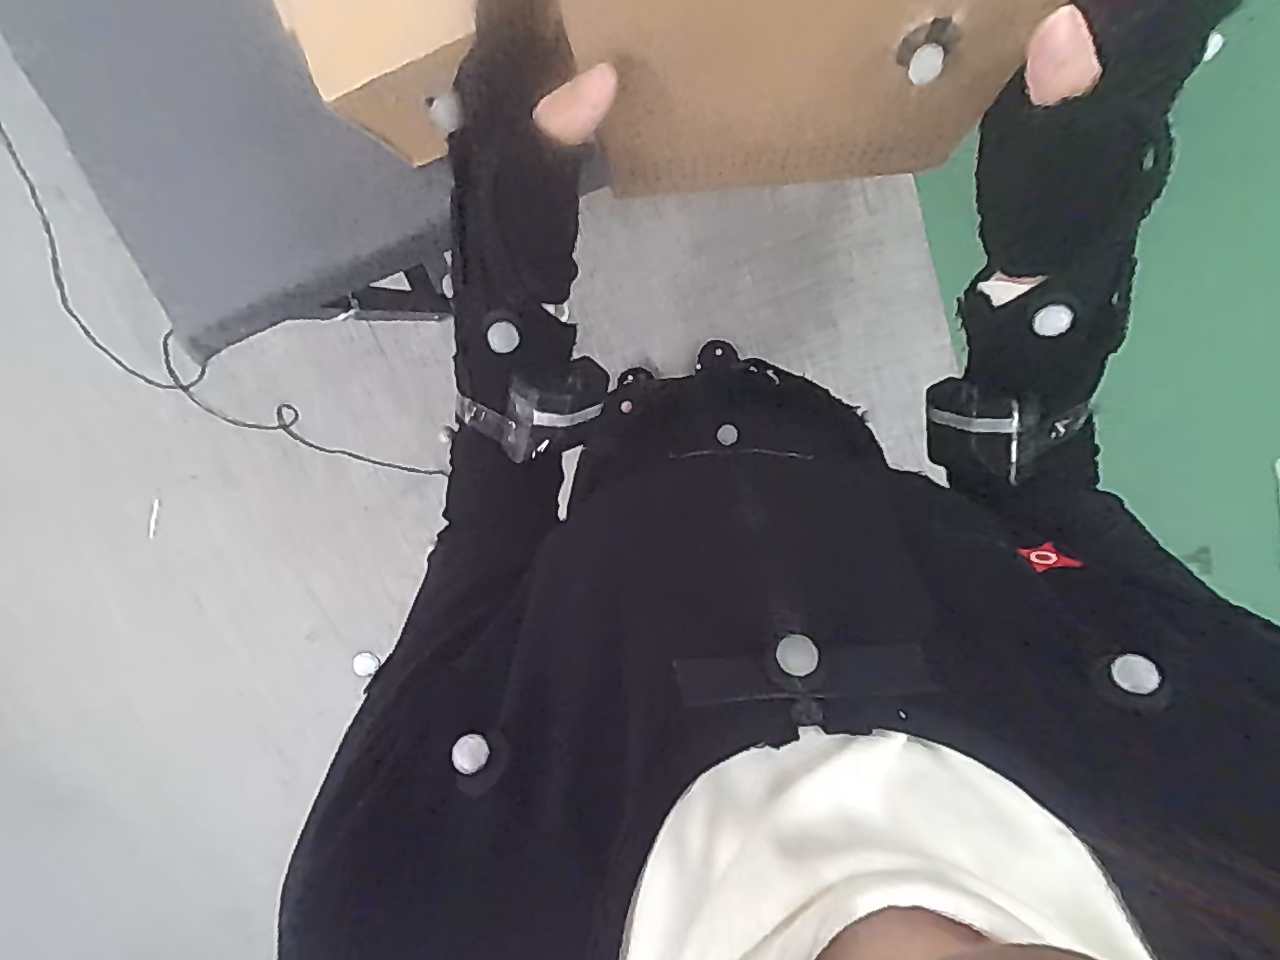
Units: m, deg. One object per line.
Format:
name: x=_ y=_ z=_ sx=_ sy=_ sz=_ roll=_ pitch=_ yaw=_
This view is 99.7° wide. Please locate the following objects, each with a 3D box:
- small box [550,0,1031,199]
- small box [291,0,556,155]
small box: x=0.057 y=-0.244 z=0.220 sx=0.179 sy=0.176 sz=0.168 roll=-3 pitch=87 yaw=7
small box: x=-0.201 y=-0.444 z=0.510 sx=0.179 sy=0.176 sz=0.168 roll=-18 pitch=102 yaw=9
